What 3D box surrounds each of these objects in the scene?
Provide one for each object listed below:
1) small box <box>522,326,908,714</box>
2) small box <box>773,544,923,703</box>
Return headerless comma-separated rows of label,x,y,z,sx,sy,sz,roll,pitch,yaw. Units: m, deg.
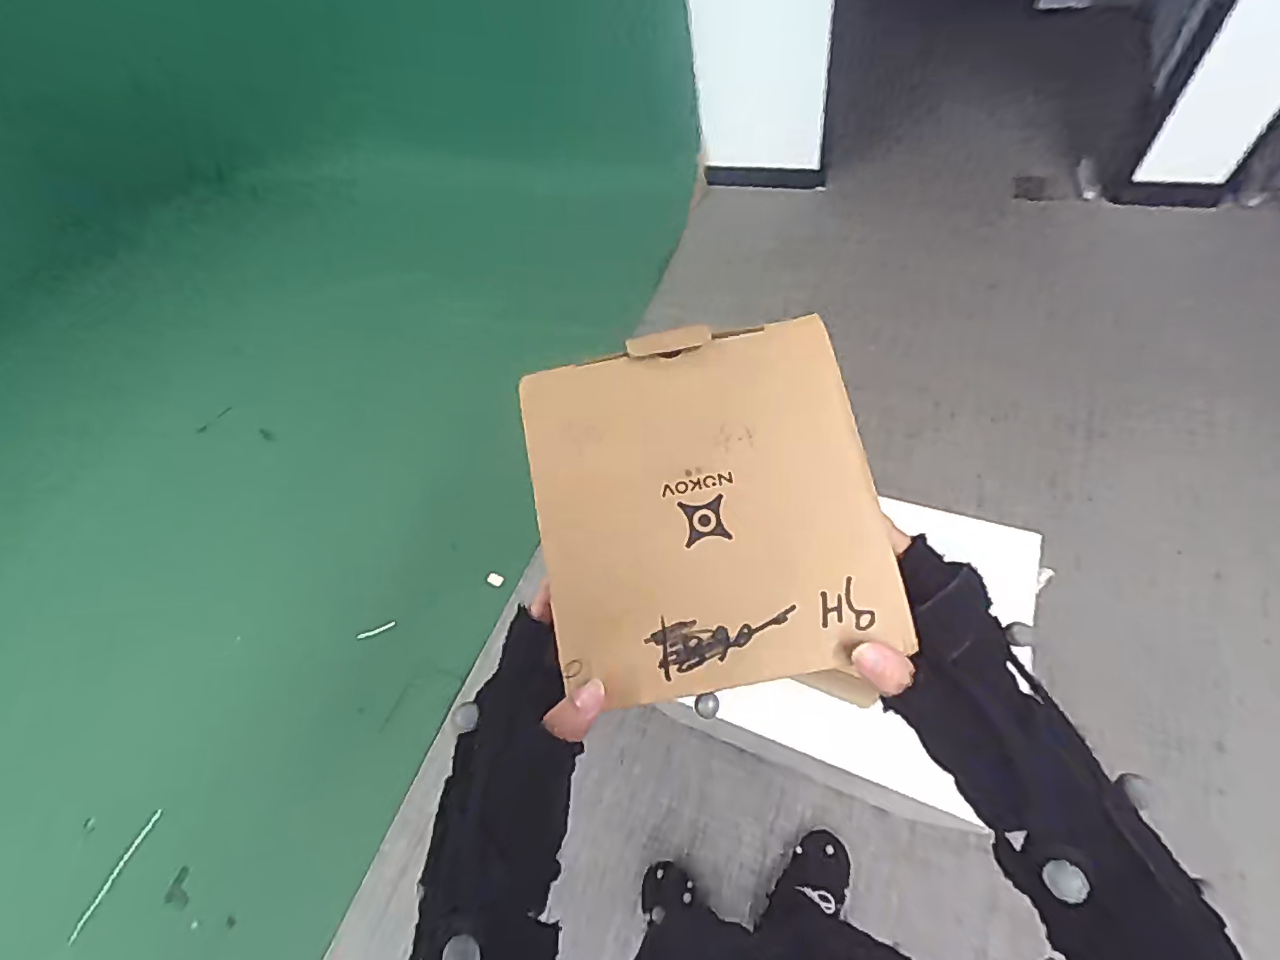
small box,0.035,0.032,0.357,0.168,0.176,0.179,-14,77,0
small box,0.242,0.175,0.708,0.179,0.176,0.168,16,66,21
